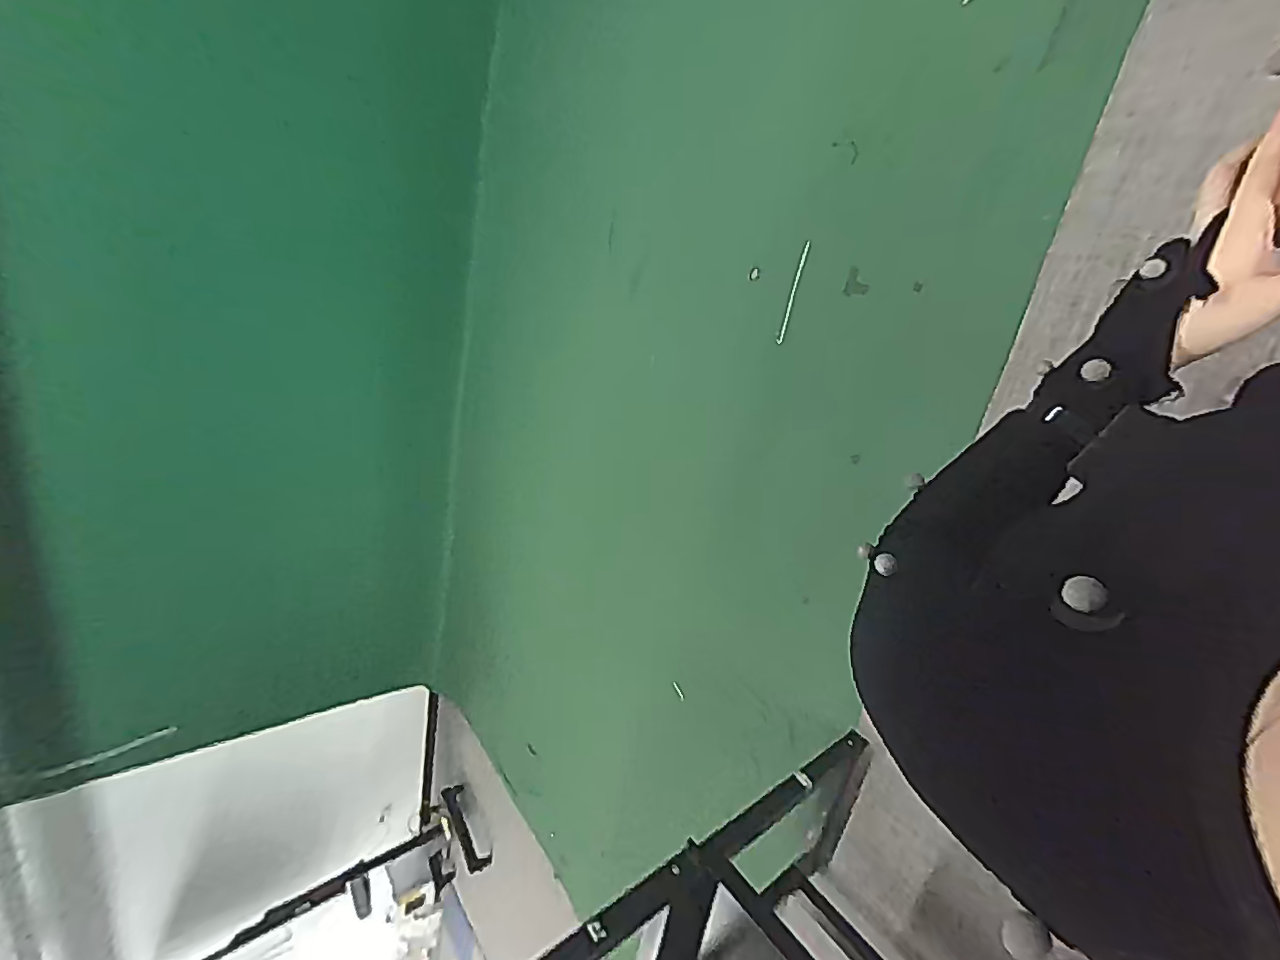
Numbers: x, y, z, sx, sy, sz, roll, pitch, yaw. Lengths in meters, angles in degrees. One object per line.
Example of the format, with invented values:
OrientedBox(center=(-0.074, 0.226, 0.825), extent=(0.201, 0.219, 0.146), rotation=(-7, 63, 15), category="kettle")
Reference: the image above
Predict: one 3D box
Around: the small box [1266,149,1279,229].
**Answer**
OrientedBox(center=(0.442, -0.233, 0.246), extent=(0.179, 0.176, 0.168), rotation=(14, 97, 42), category="small box")
